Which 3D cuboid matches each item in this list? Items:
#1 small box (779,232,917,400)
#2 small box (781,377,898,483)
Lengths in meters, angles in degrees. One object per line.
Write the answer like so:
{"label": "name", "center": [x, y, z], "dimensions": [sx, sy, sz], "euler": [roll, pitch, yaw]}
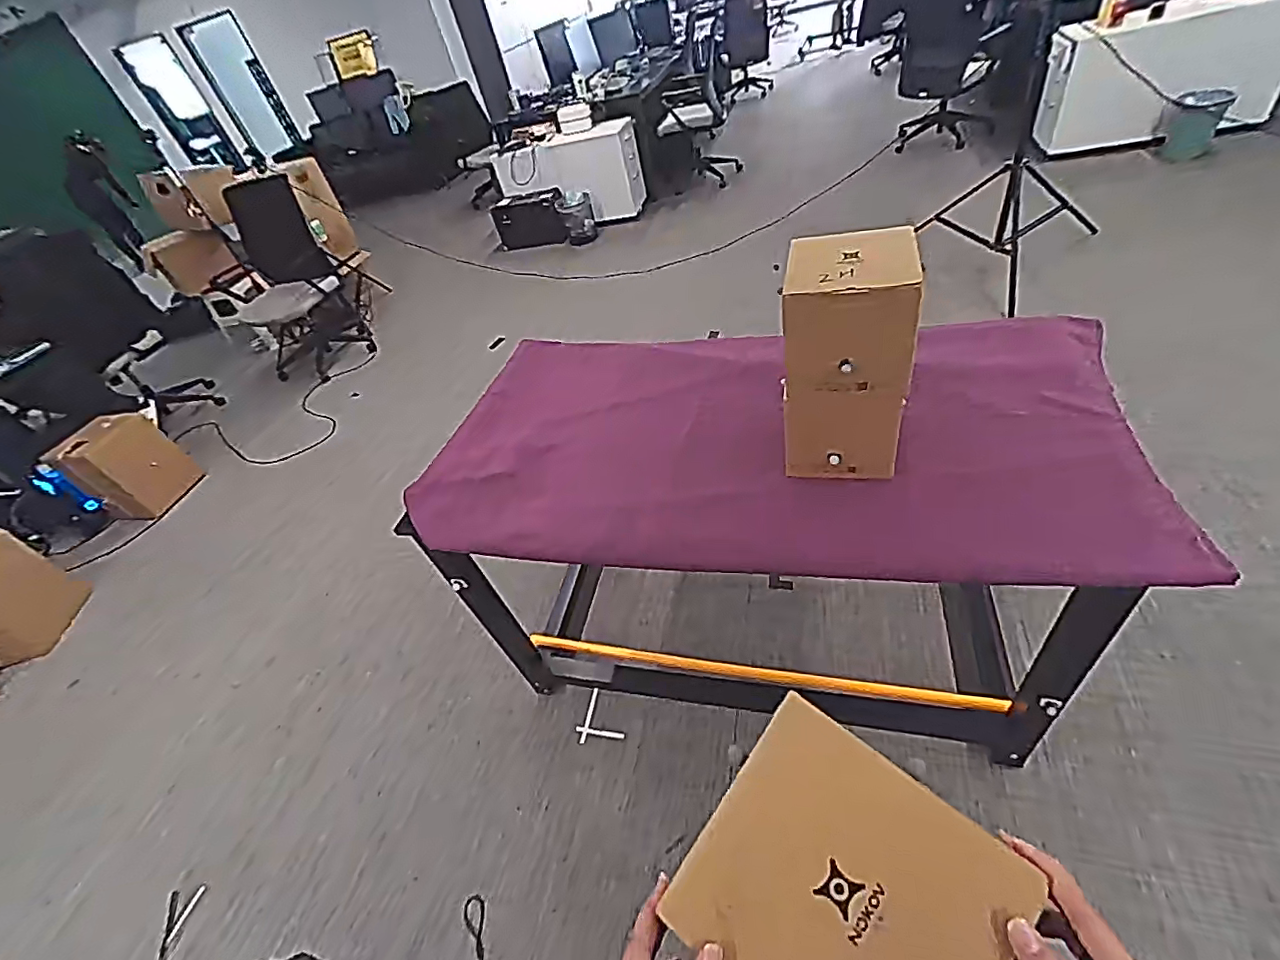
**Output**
{"label": "small box", "center": [0.297, -0.234, 0.784], "dimensions": [0.168, 0.176, 0.179], "euler": [1, 46, 20]}
{"label": "small box", "center": [0.327, -0.117, 0.897], "dimensions": [0.168, 0.176, 0.179], "euler": [2, 46, 20]}
